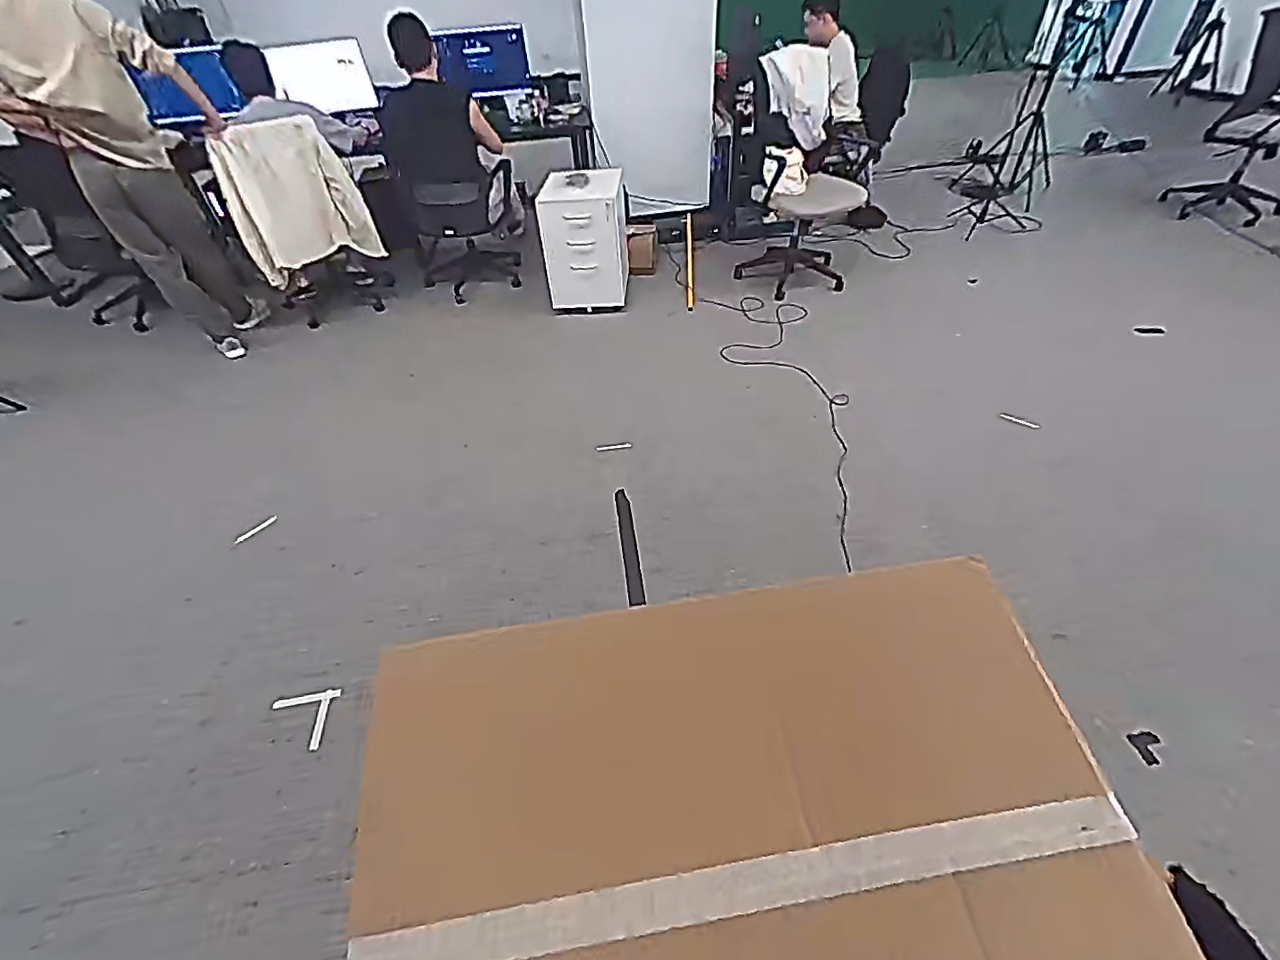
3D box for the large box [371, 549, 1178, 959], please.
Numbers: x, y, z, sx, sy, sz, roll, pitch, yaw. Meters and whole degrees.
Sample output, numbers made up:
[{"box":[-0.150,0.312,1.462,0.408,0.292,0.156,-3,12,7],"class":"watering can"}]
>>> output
[{"box":[0.060,0.287,0.417,0.408,0.320,0.320,-9,58,-3],"class":"large box"}]
